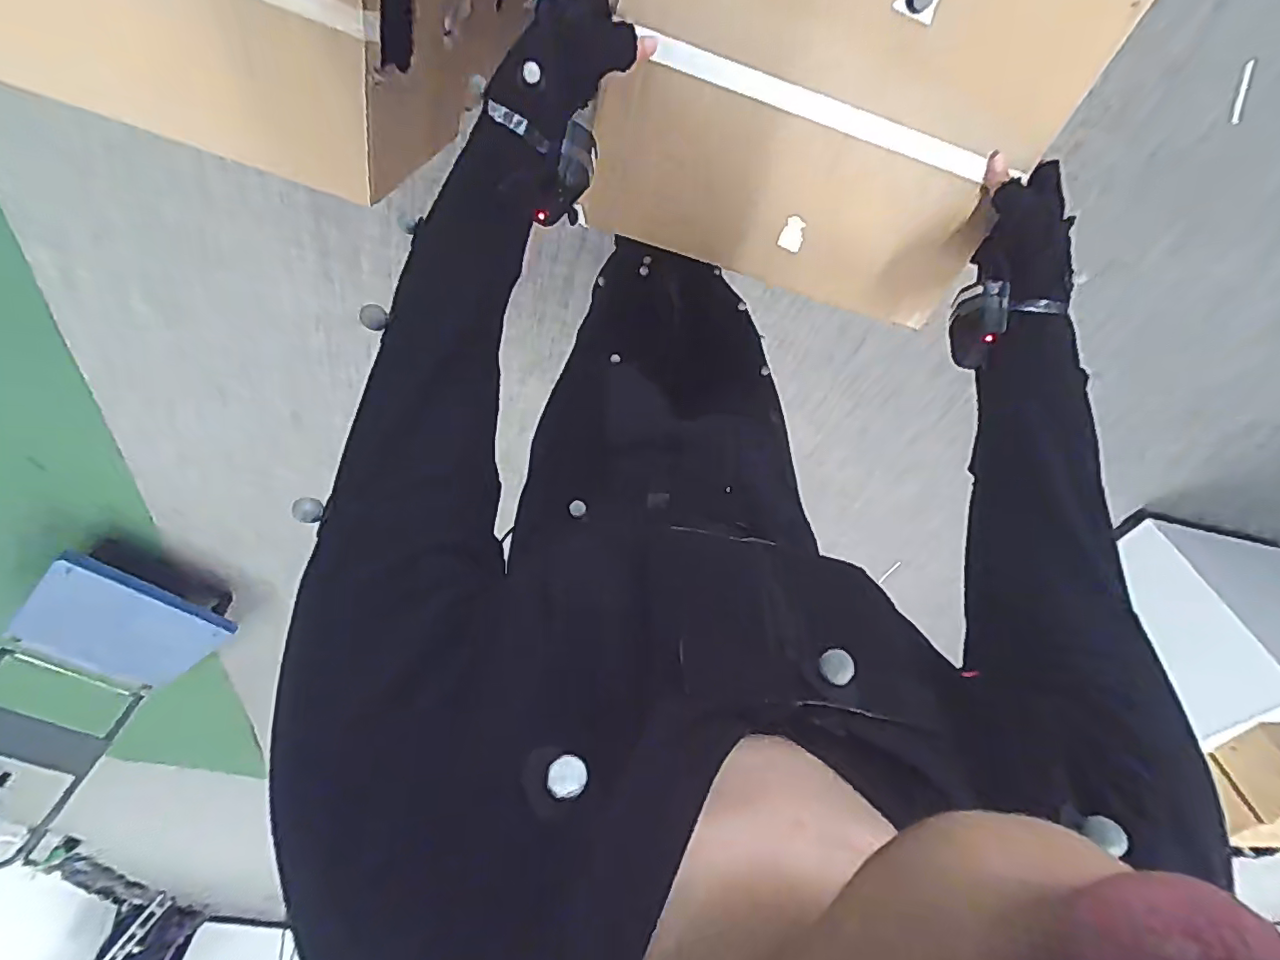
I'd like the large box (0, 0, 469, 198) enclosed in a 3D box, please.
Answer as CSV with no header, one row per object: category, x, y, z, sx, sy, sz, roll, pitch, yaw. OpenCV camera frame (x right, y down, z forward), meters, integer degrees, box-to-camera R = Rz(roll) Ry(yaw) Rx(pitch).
large box,-0.409,-0.551,0.539,0.408,0.320,0.320,16,134,-10
